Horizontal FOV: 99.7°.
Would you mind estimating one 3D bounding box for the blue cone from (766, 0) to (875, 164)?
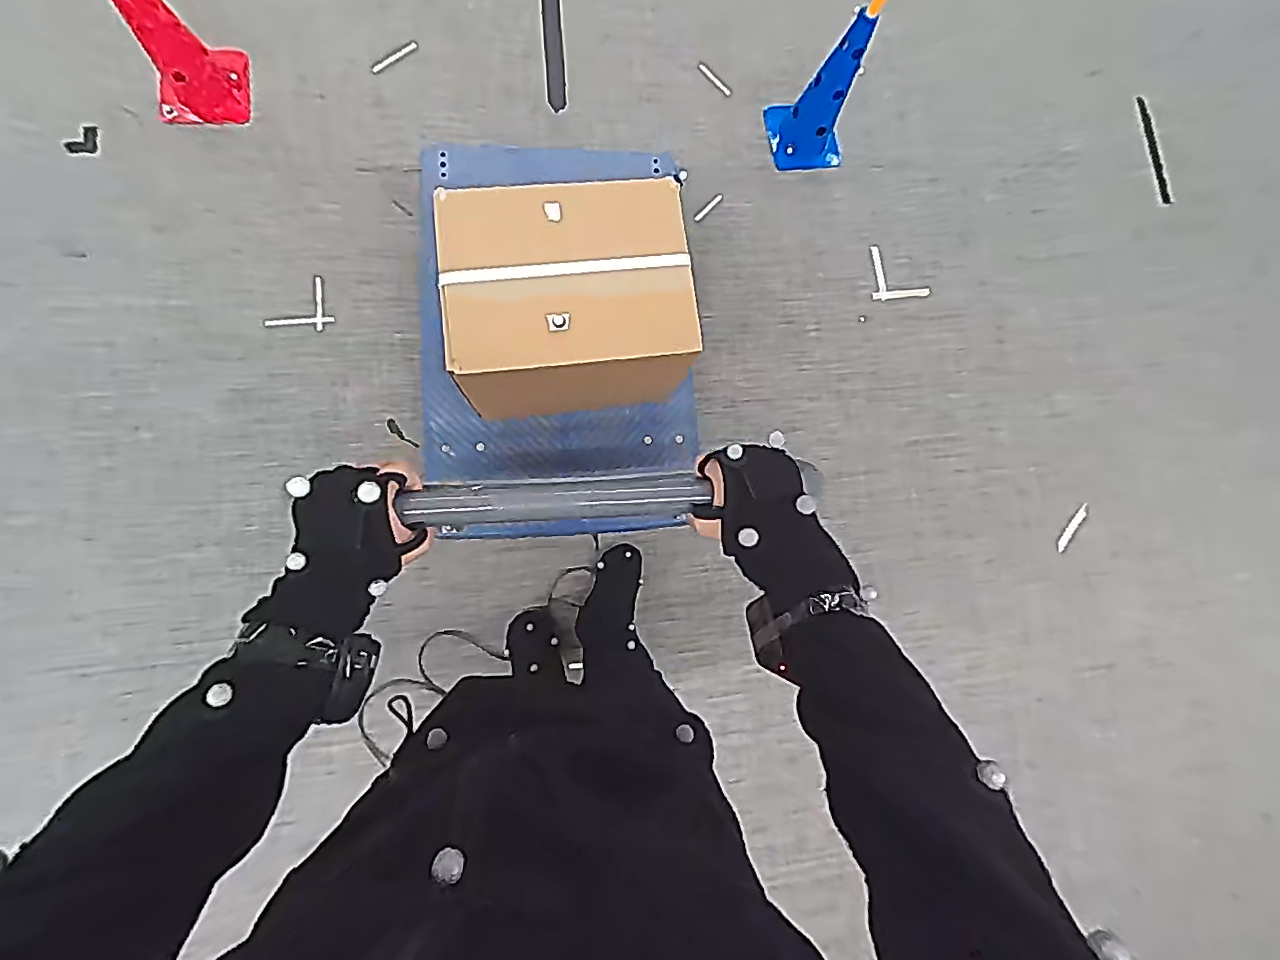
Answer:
[{"bbox_3d":[0.480,-1.003,1.364,0.193,0.380,0.192,-9,82,-9],"label":"blue cone"}]
